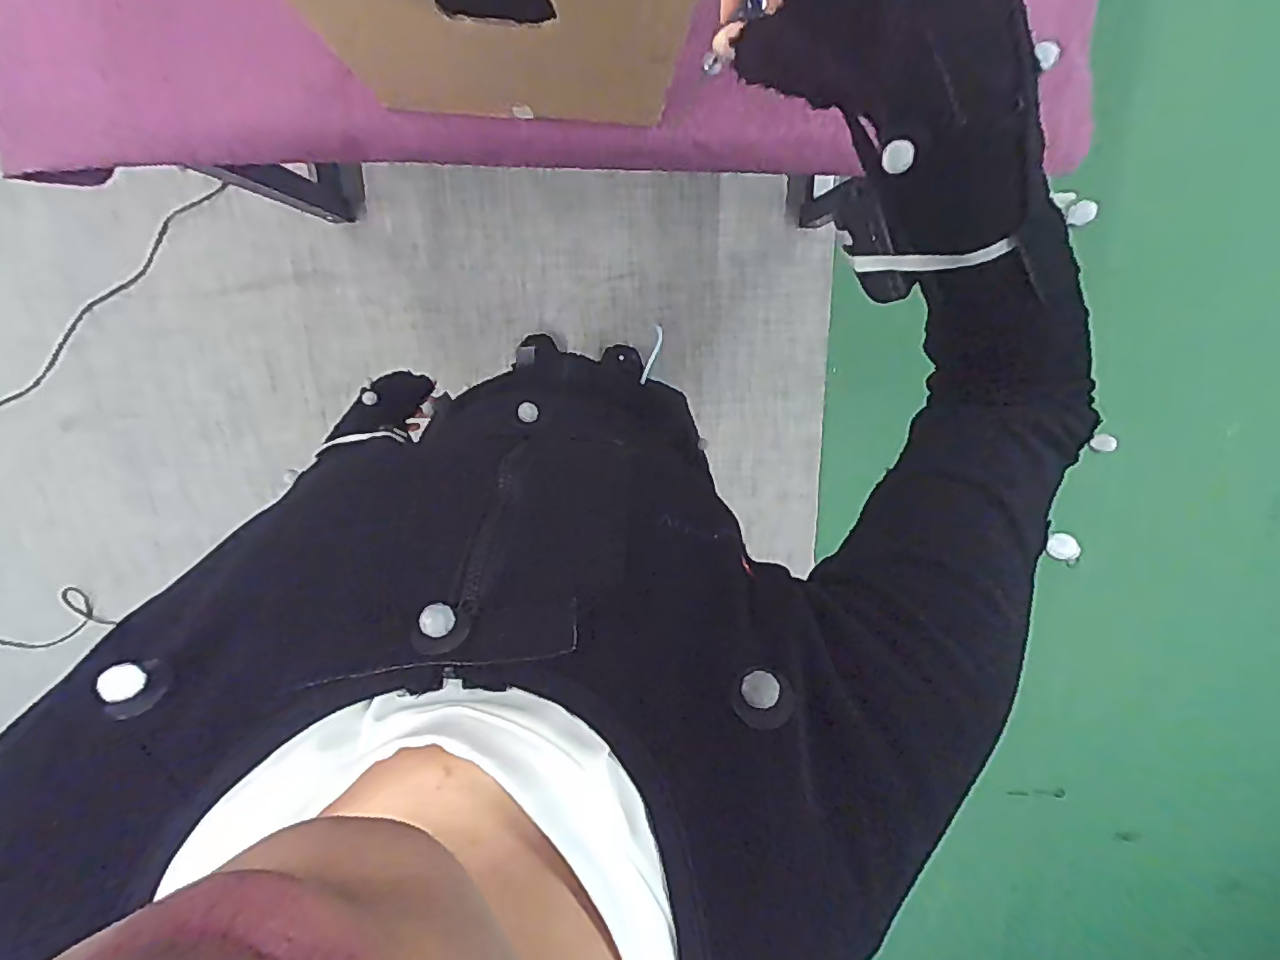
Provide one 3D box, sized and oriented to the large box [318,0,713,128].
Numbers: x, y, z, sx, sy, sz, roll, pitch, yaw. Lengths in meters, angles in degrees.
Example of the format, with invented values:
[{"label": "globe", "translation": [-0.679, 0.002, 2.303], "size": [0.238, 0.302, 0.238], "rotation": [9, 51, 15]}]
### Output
[{"label": "large box", "translation": [-0.102, -0.574, 0.438], "size": [0.320, 0.320, 0.408], "rotation": [1, 106, -5]}]
